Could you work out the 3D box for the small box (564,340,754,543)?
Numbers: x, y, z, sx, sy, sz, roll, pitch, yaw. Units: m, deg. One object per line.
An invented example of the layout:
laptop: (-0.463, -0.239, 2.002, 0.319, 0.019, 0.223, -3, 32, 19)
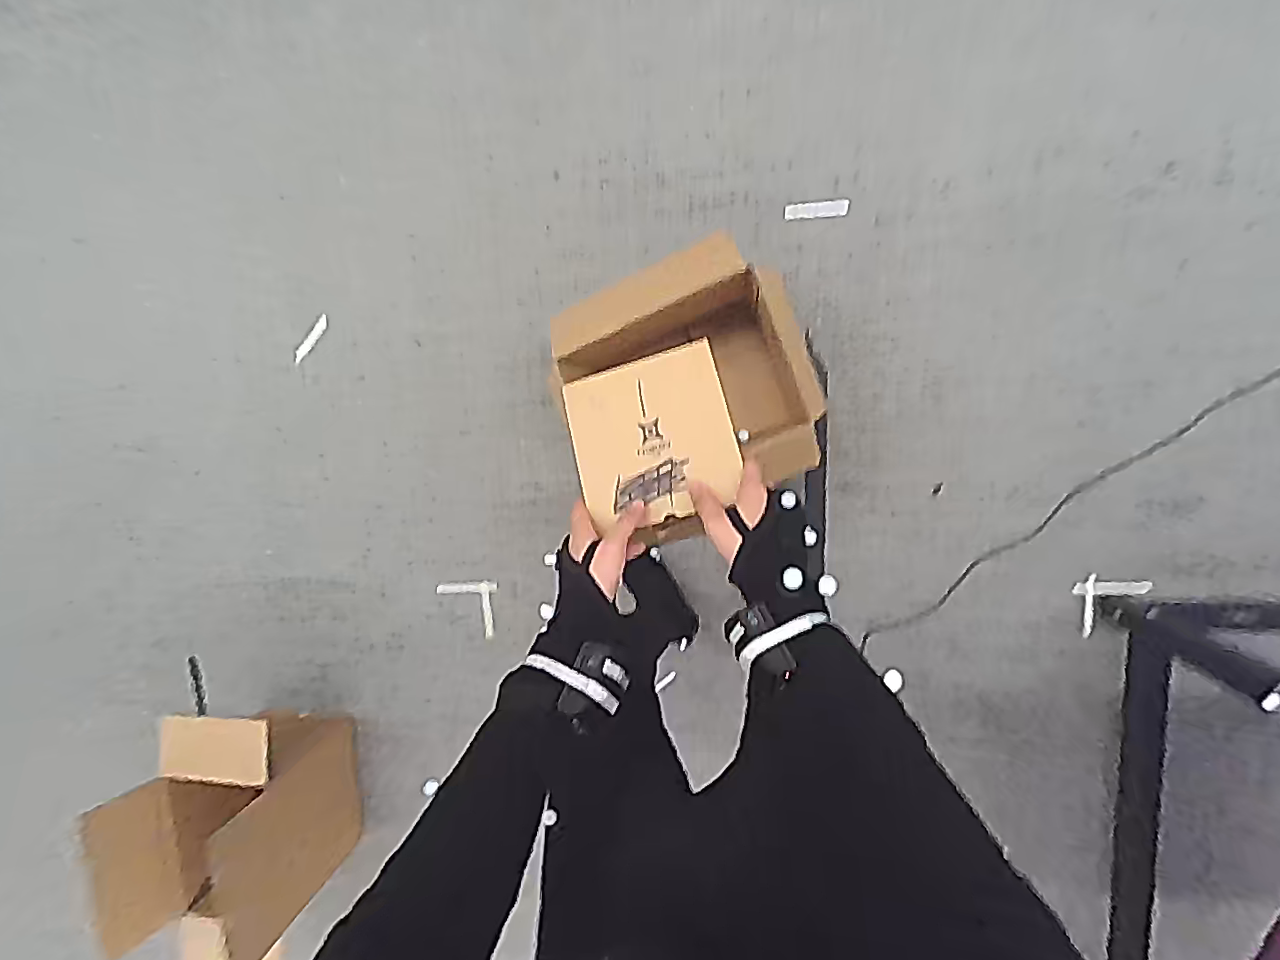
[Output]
small box: (0.031, -0.028, 0.630, 0.168, 0.176, 0.179, -16, 75, 10)
